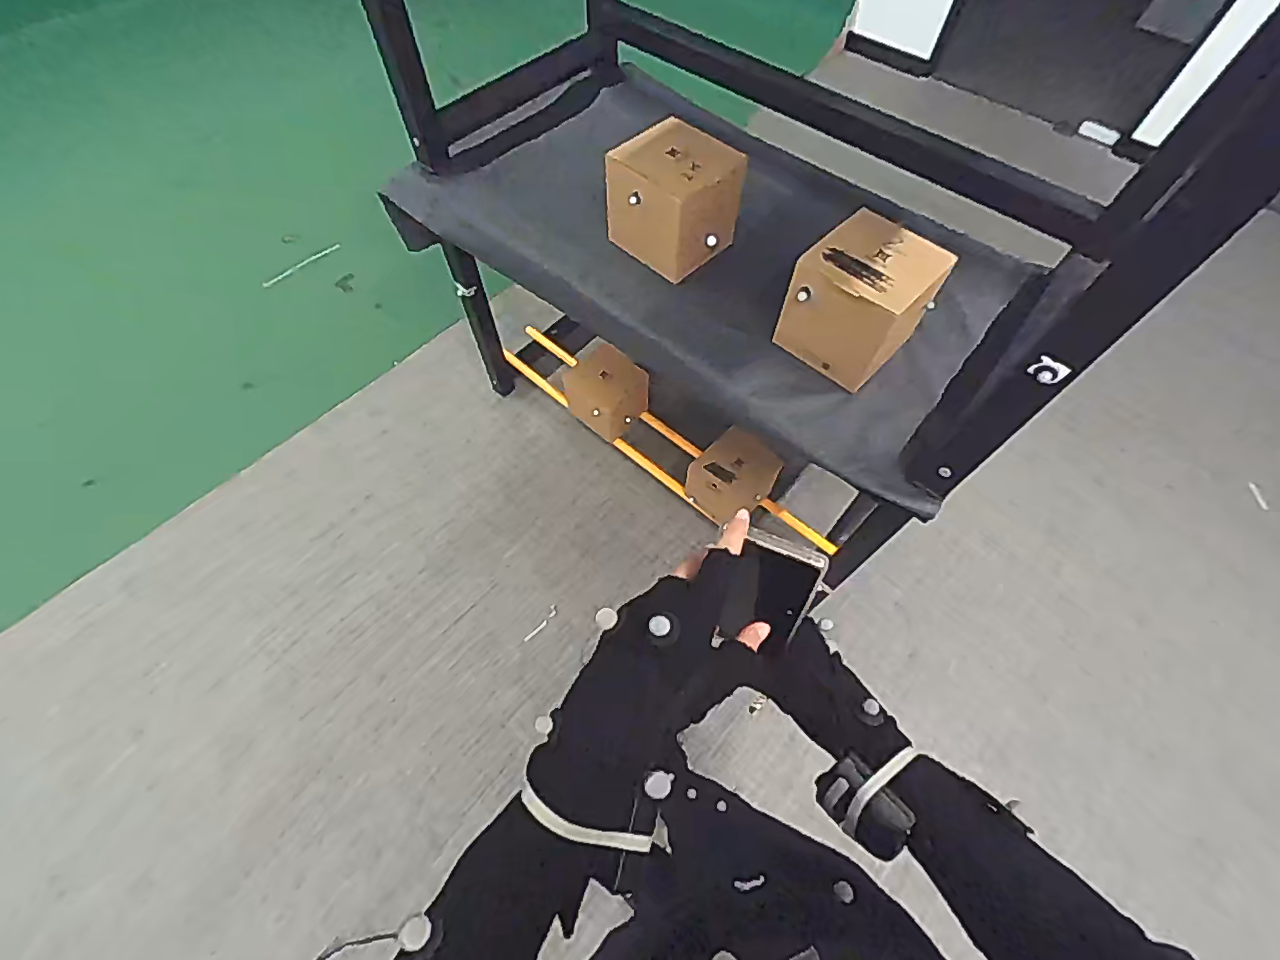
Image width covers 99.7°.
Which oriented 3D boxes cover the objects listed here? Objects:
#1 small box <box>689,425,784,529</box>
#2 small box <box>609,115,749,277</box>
[{"bbox_3d":[0.242,-0.001,1.400,0.168,0.176,0.179,41,69,19],"label":"small box"},{"bbox_3d":[0.062,-0.499,0.961,0.179,0.176,0.168,41,69,19],"label":"small box"}]
